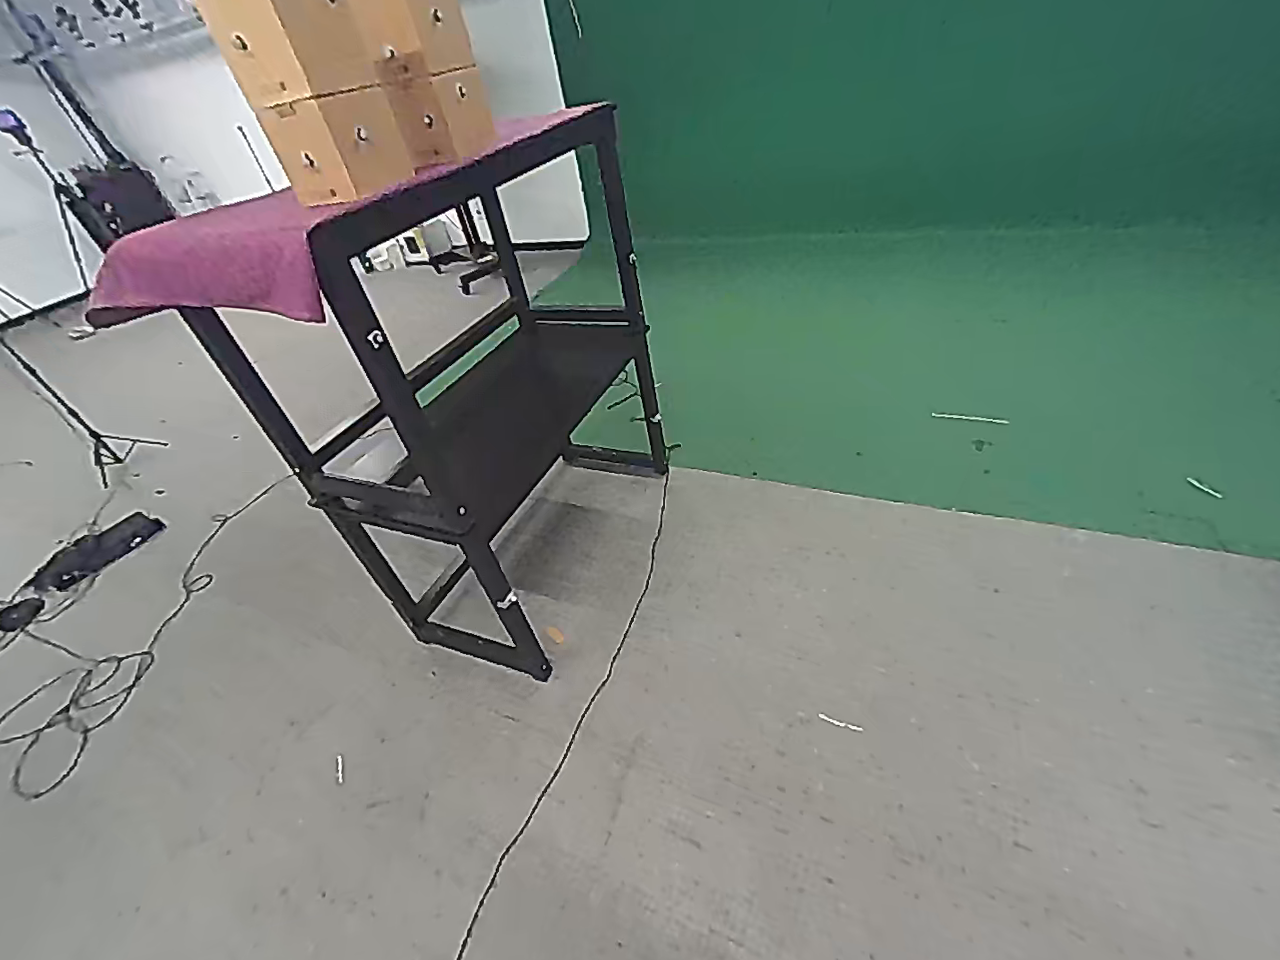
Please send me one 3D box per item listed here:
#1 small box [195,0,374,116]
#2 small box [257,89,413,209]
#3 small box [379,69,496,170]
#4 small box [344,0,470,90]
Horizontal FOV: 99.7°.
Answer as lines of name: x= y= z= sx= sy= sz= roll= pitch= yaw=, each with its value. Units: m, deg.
small box: x=-0.626 y=-0.776 z=0.977 sx=0.168 sy=0.176 sz=0.179 roll=6 pitch=41 yaw=22
small box: x=-0.594 y=-0.652 z=1.079 sx=0.168 sy=0.176 sz=0.179 roll=7 pitch=43 yaw=22
small box: x=-0.471 y=-0.853 z=1.290 sx=0.168 sy=0.176 sz=0.179 roll=8 pitch=43 yaw=23
small box: x=-0.499 y=-0.977 z=1.187 sx=0.168 sy=0.176 sz=0.179 roll=7 pitch=44 yaw=23
